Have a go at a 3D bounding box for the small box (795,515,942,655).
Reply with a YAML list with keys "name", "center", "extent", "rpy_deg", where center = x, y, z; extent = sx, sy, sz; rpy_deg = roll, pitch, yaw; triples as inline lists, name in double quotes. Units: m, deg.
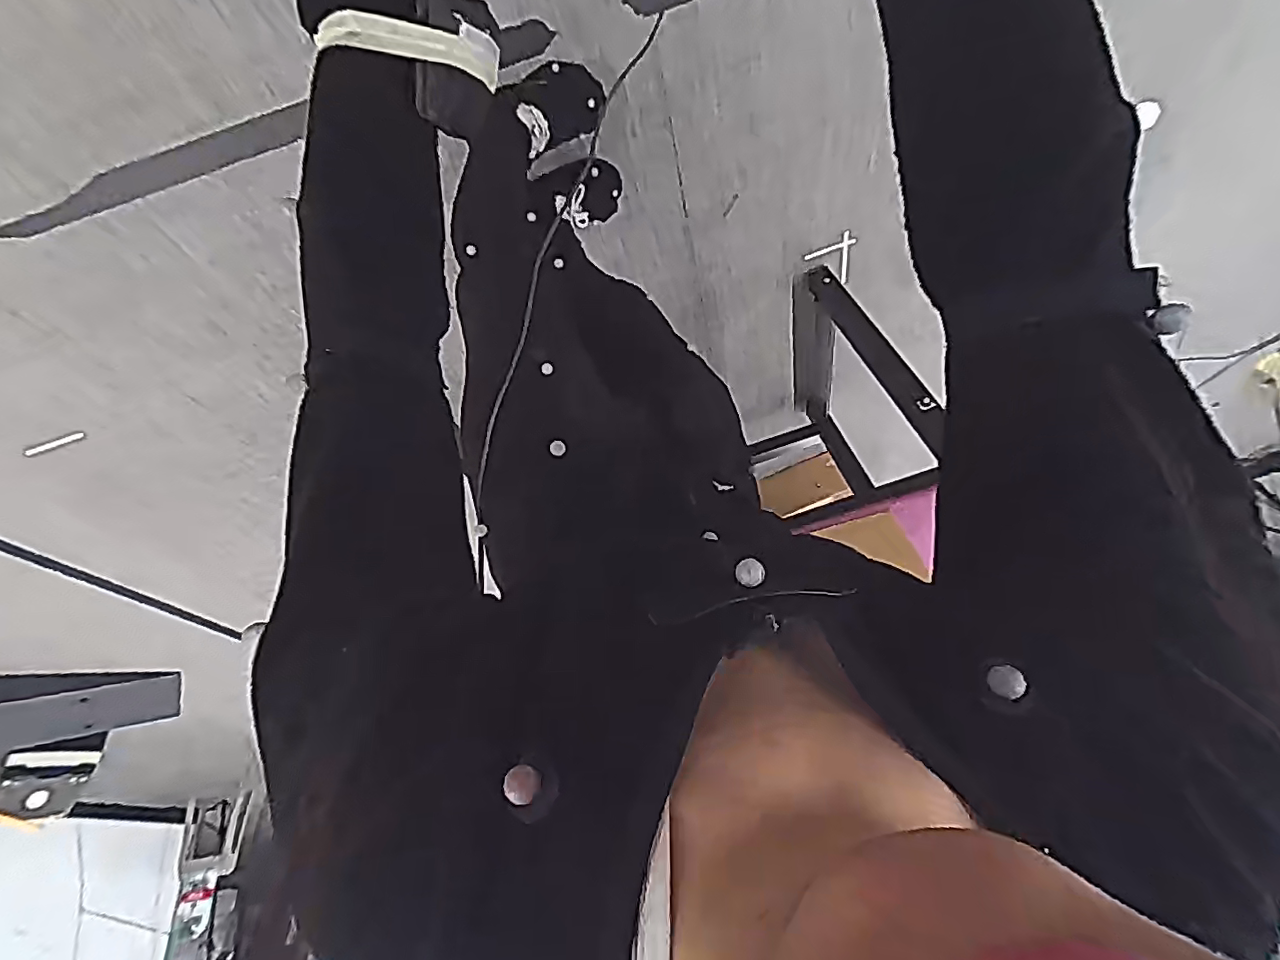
- name: "small box"
  center: [0.394, 0.188, 0.973]
  extent: [0.179, 0.176, 0.168]
  rpy_deg: [-16, 143, -1]
